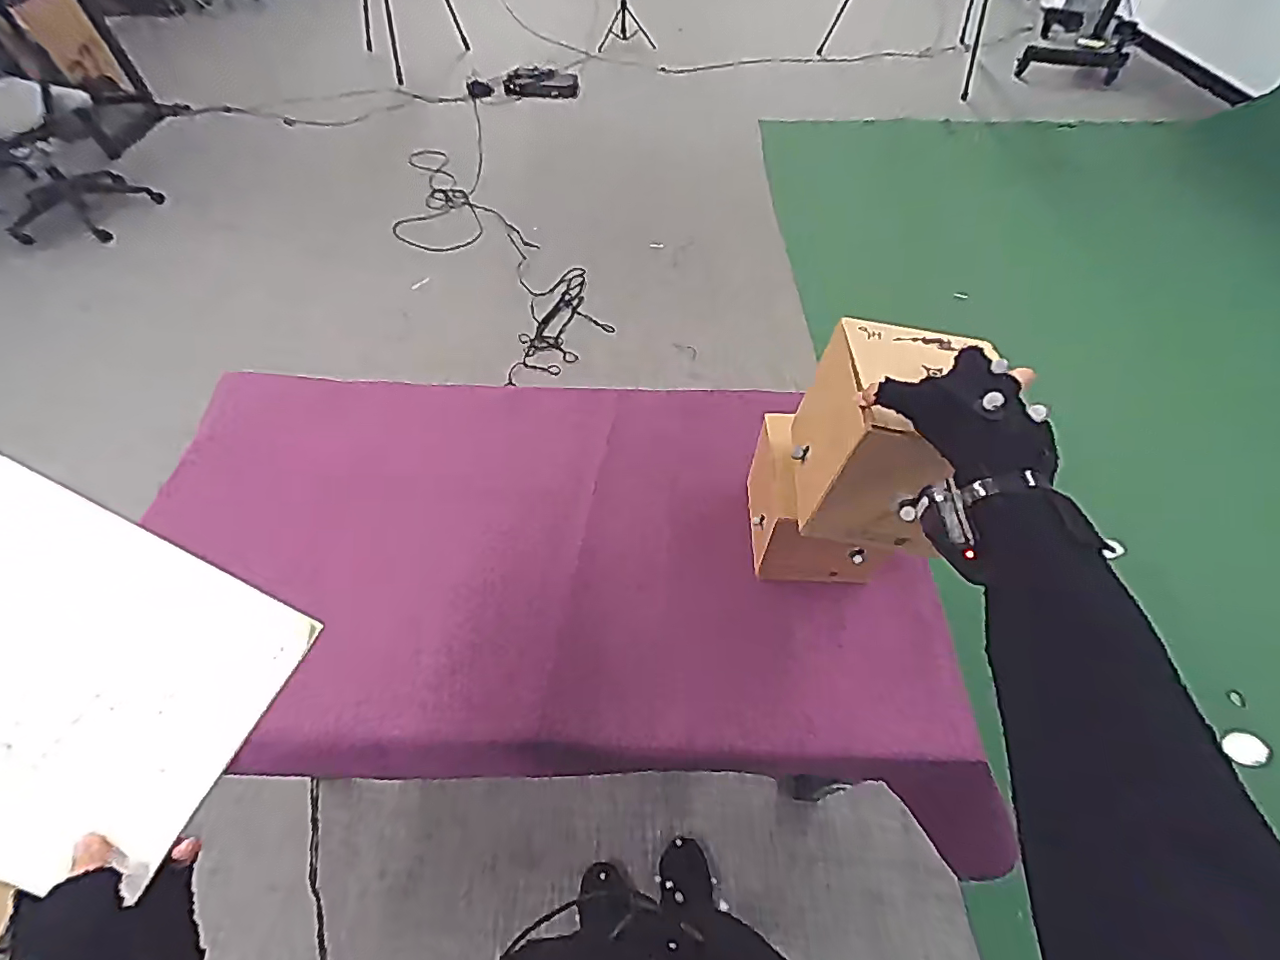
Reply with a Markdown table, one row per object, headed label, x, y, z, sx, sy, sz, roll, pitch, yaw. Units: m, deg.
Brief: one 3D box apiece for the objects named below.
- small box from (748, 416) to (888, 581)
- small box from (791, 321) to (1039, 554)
| label | x | y | z | sx | sy | sz | roll | pitch | yaw |
| --- | --- | --- | --- | --- | --- | --- | --- | --- | --- |
| small box | 0.250 | 0.031 | 0.764 | 0.168 | 0.176 | 0.179 | 2 | 54 | 2 |
| small box | 0.272 | -0.041 | 0.588 | 0.168 | 0.176 | 0.179 | 10 | 50 | -1 |
